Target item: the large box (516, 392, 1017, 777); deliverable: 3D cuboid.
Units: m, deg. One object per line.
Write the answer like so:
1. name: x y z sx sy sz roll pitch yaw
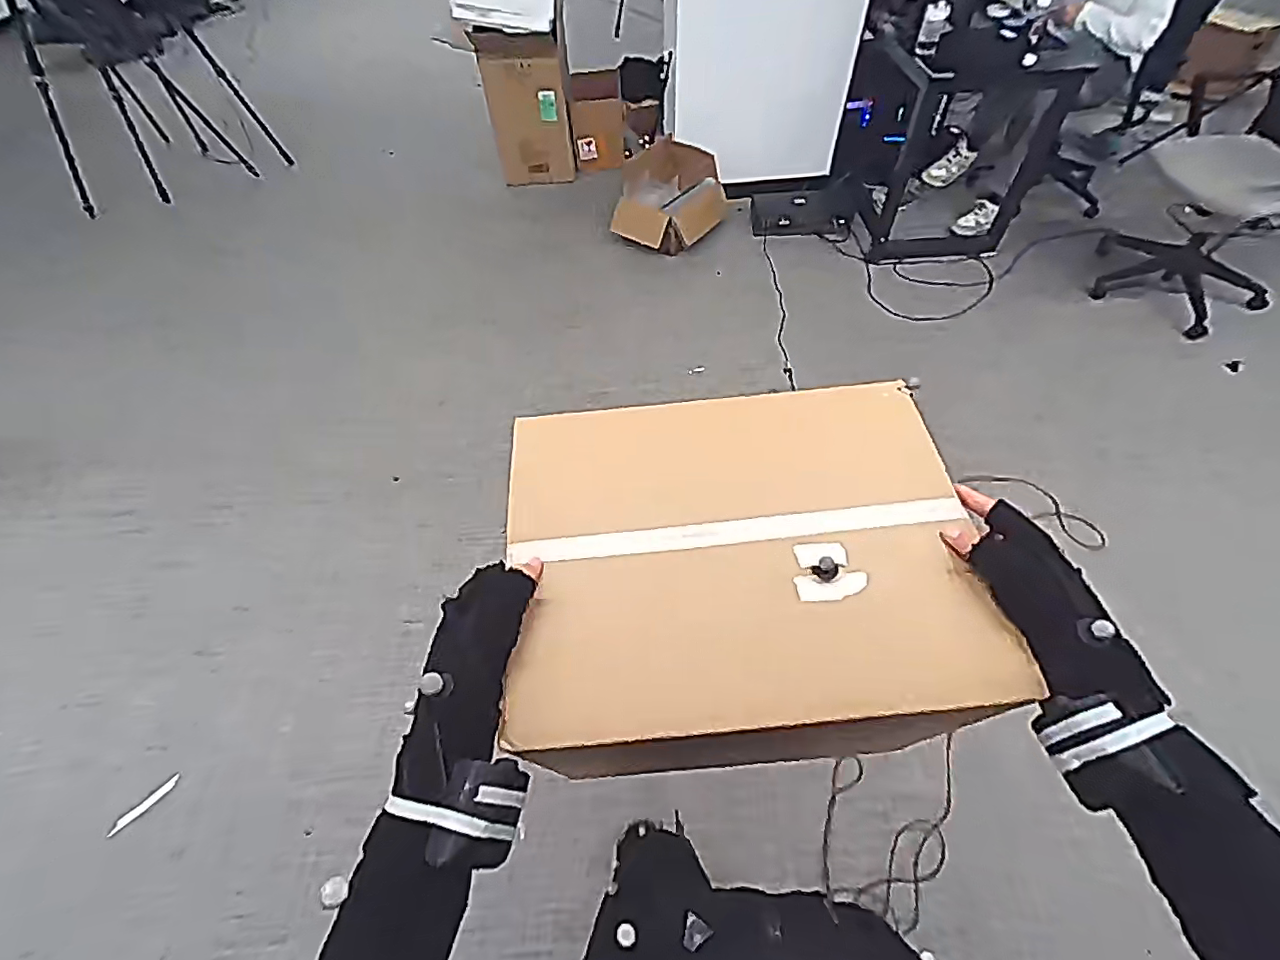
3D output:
1. large box: 0.091 0.134 0.622 0.408 0.320 0.320 -6 57 -1
